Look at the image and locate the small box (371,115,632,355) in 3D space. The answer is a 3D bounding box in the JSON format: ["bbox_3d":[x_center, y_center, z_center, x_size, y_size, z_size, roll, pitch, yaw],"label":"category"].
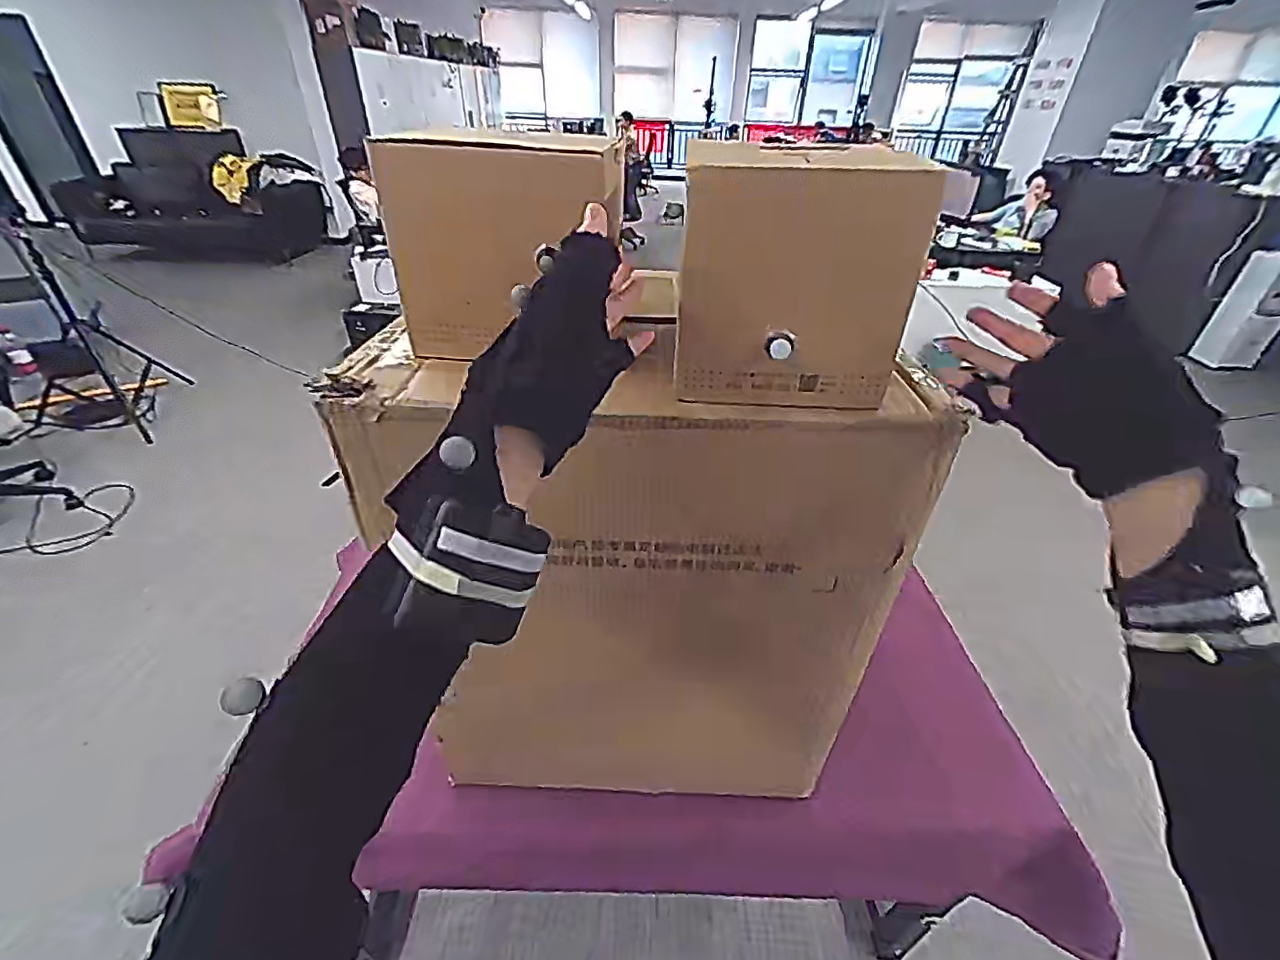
[{"bbox_3d":[-0.103,-0.222,0.489,0.179,0.176,0.168,4,35,2],"label":"small box"}]

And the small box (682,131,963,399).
[{"bbox_3d":[0.121,-0.183,0.446,0.168,0.176,0.179,3,35,3],"label":"small box"}]
